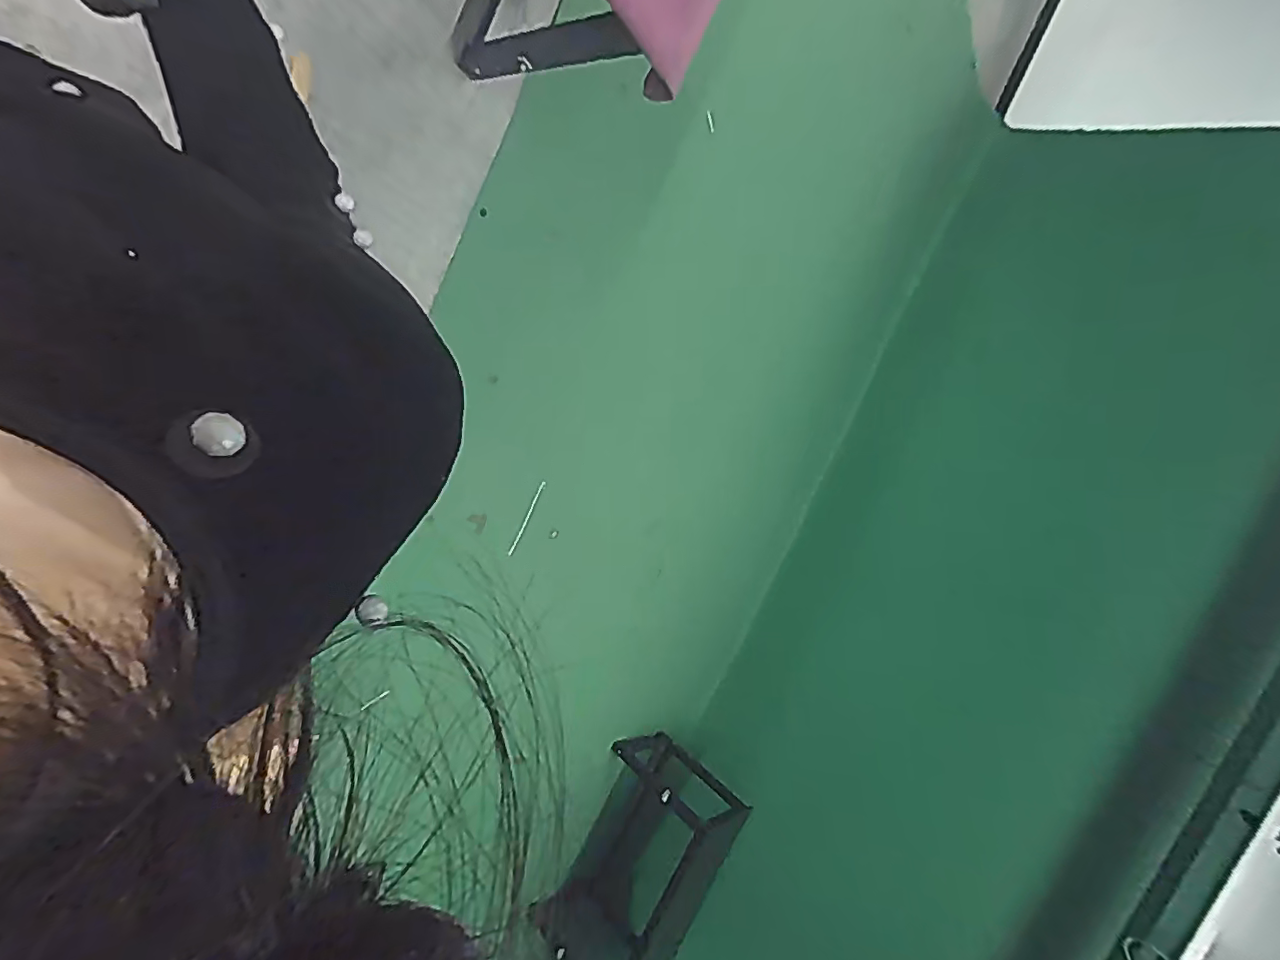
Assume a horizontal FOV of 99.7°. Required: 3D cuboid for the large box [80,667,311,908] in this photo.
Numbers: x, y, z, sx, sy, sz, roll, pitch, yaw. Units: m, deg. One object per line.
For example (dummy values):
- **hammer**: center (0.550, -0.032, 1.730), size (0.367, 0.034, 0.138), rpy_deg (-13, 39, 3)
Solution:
- **large box**: center (-1.134, 0.745, 1.388), size (0.408, 0.320, 0.320), rpy_deg (-3, 115, -50)
